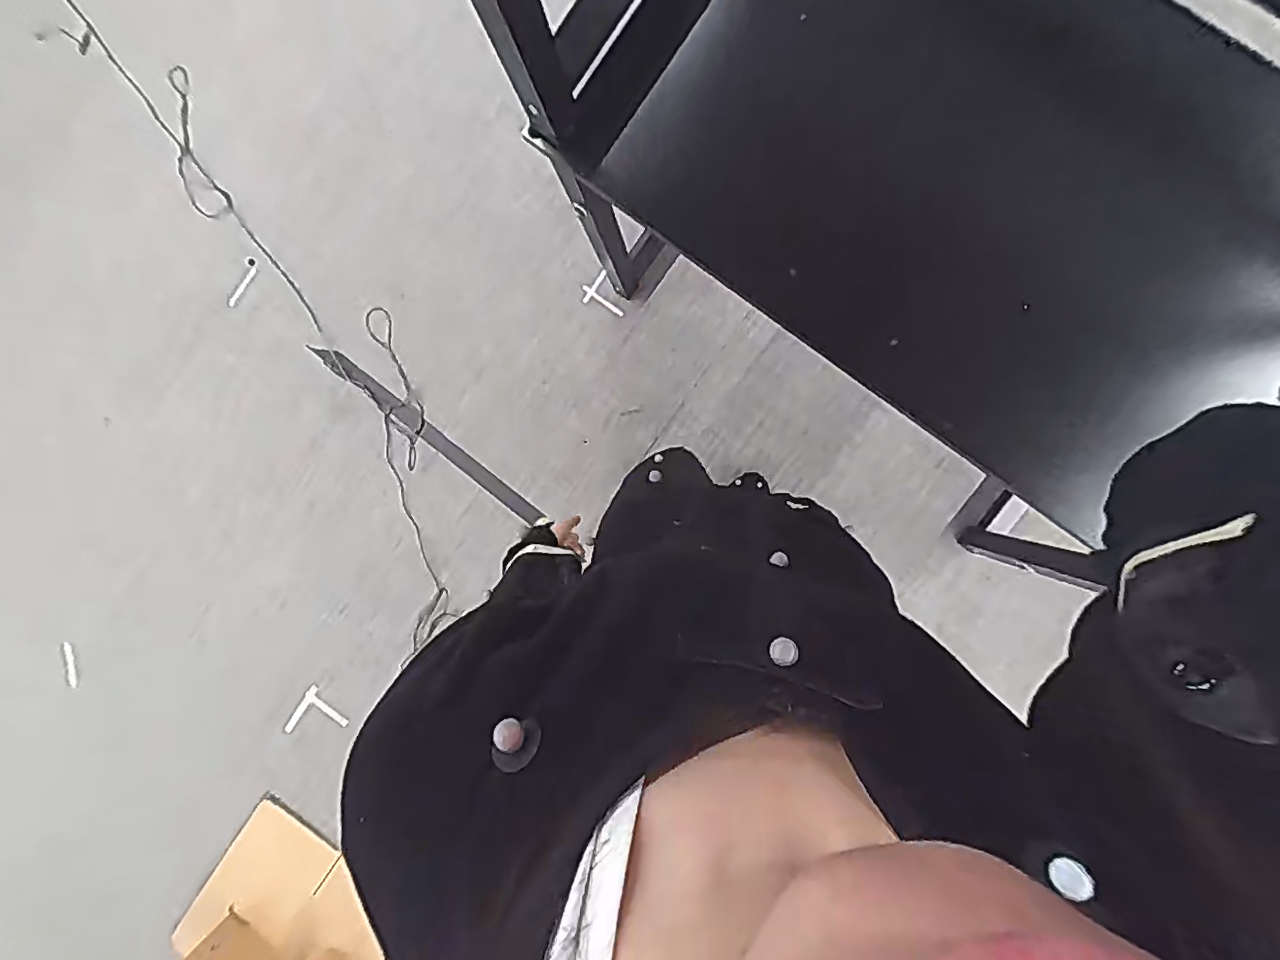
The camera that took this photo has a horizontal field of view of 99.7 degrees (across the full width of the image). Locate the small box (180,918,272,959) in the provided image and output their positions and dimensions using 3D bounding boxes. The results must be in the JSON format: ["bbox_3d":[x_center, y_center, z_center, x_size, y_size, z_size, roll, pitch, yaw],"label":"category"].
[{"bbox_3d":[-1.246,1.452,1.592,0.179,0.176,0.168,31,96,4],"label":"small box"}]

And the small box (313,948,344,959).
[{"bbox_3d":[-0.940,1.525,1.561,0.179,0.176,0.168,45,95,1],"label":"small box"}]
